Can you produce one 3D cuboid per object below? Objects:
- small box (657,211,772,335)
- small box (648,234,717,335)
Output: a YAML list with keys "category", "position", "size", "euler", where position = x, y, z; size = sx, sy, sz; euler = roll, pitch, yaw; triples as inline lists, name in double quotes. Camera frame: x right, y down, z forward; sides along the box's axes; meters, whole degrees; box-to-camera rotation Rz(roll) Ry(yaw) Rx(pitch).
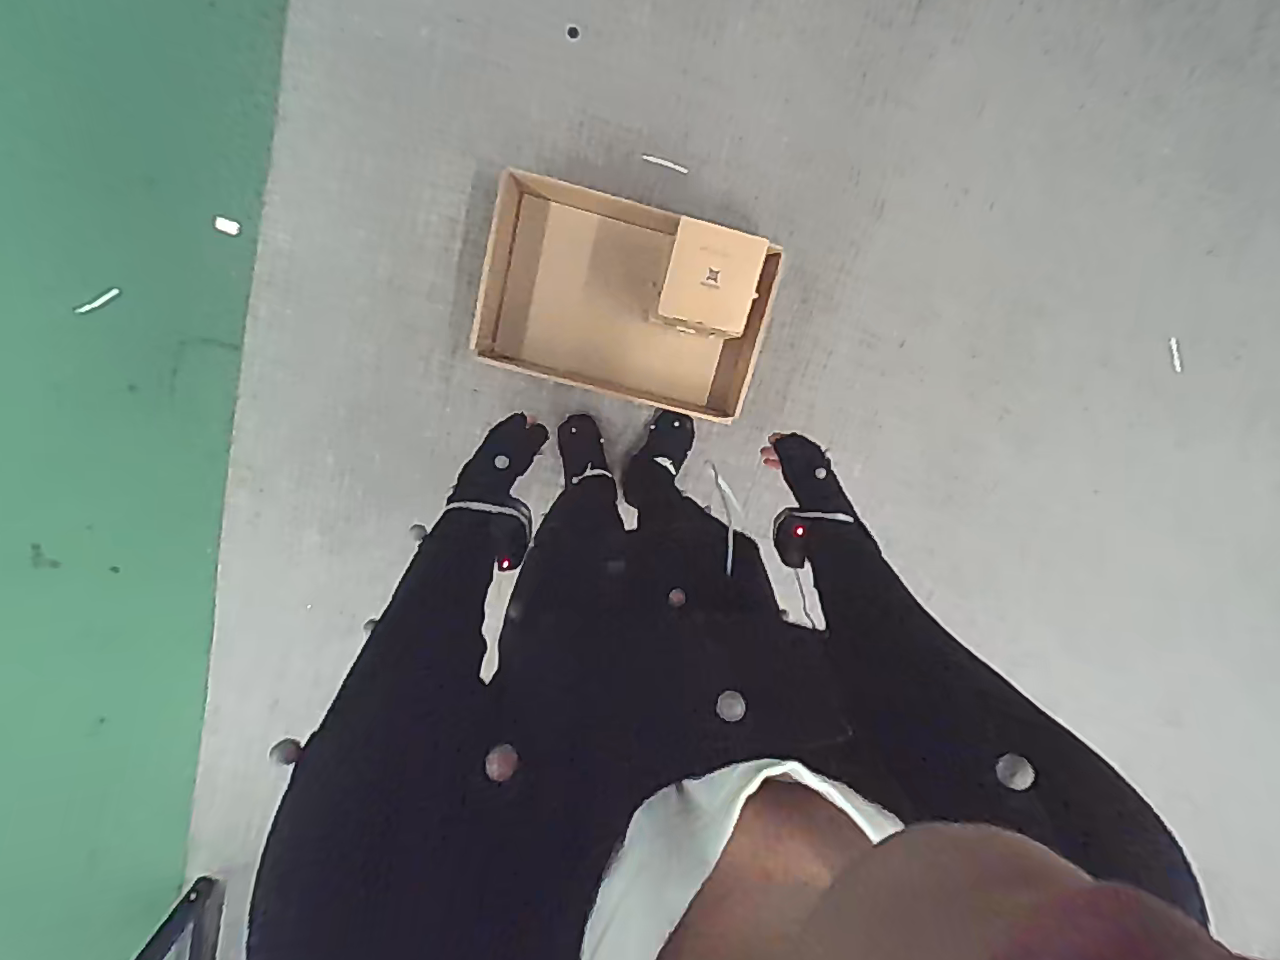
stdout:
- category: "small box"
  position: [0.132, -0.382, 1.033]
  size: [0.168, 0.176, 0.179]
  euler: [14, 103, -4]
- category: "small box"
  position: [0.114, -0.427, 1.210]
  size: [0.168, 0.176, 0.179]
  euler: [10, 103, -2]
